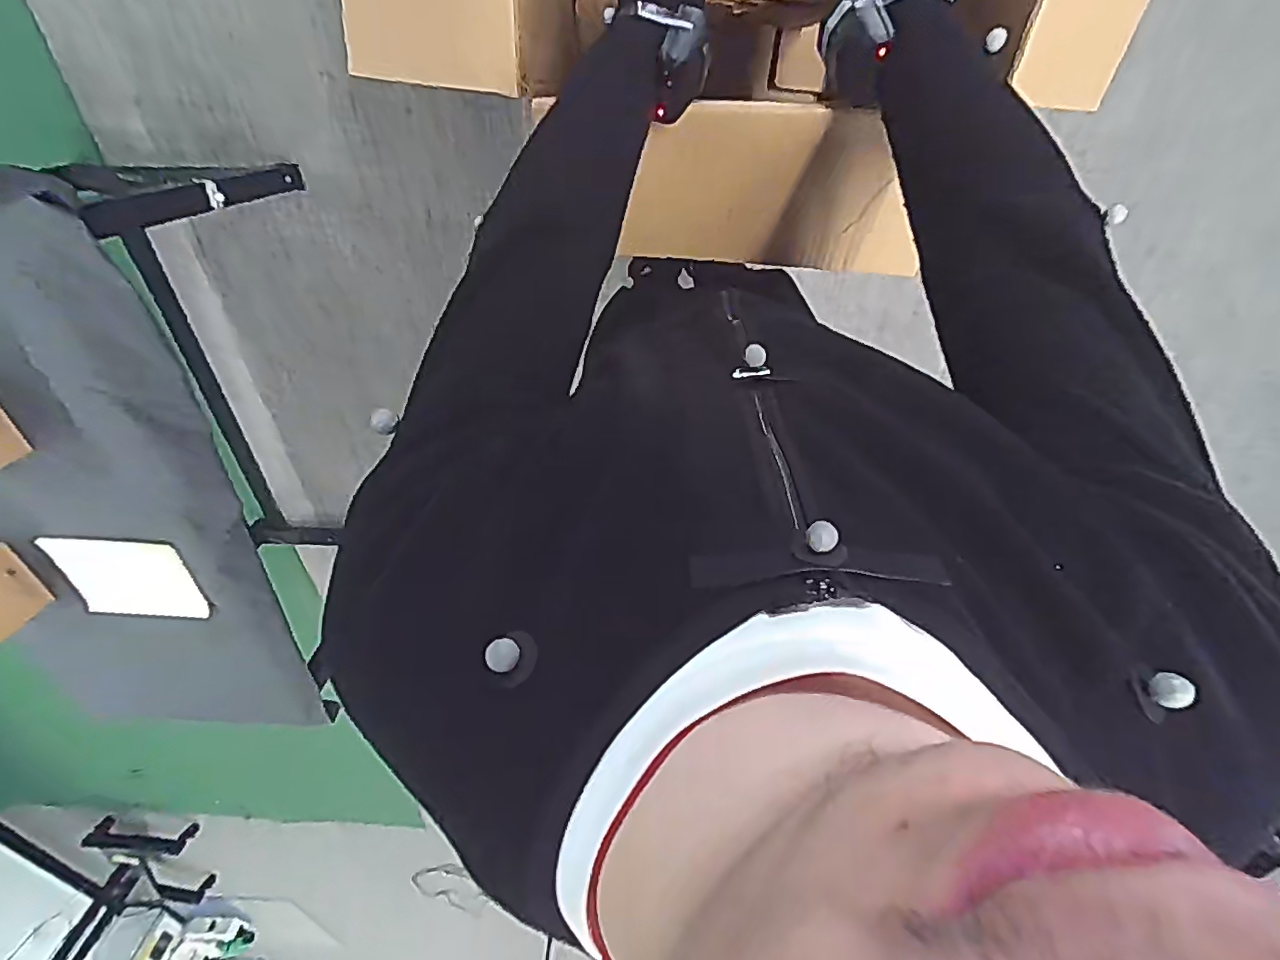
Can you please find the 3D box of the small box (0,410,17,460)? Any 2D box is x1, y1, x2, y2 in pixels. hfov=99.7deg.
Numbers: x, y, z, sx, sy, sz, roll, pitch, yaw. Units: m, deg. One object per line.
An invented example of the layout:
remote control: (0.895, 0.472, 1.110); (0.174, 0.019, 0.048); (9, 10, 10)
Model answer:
small box: (-1.120, -0.080, 0.809); (0.179, 0.176, 0.168); (1, 125, 1)

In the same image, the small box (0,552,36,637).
small box: (-1.329, 0.231, 1.024); (0.179, 0.176, 0.168); (1, 125, 3)
